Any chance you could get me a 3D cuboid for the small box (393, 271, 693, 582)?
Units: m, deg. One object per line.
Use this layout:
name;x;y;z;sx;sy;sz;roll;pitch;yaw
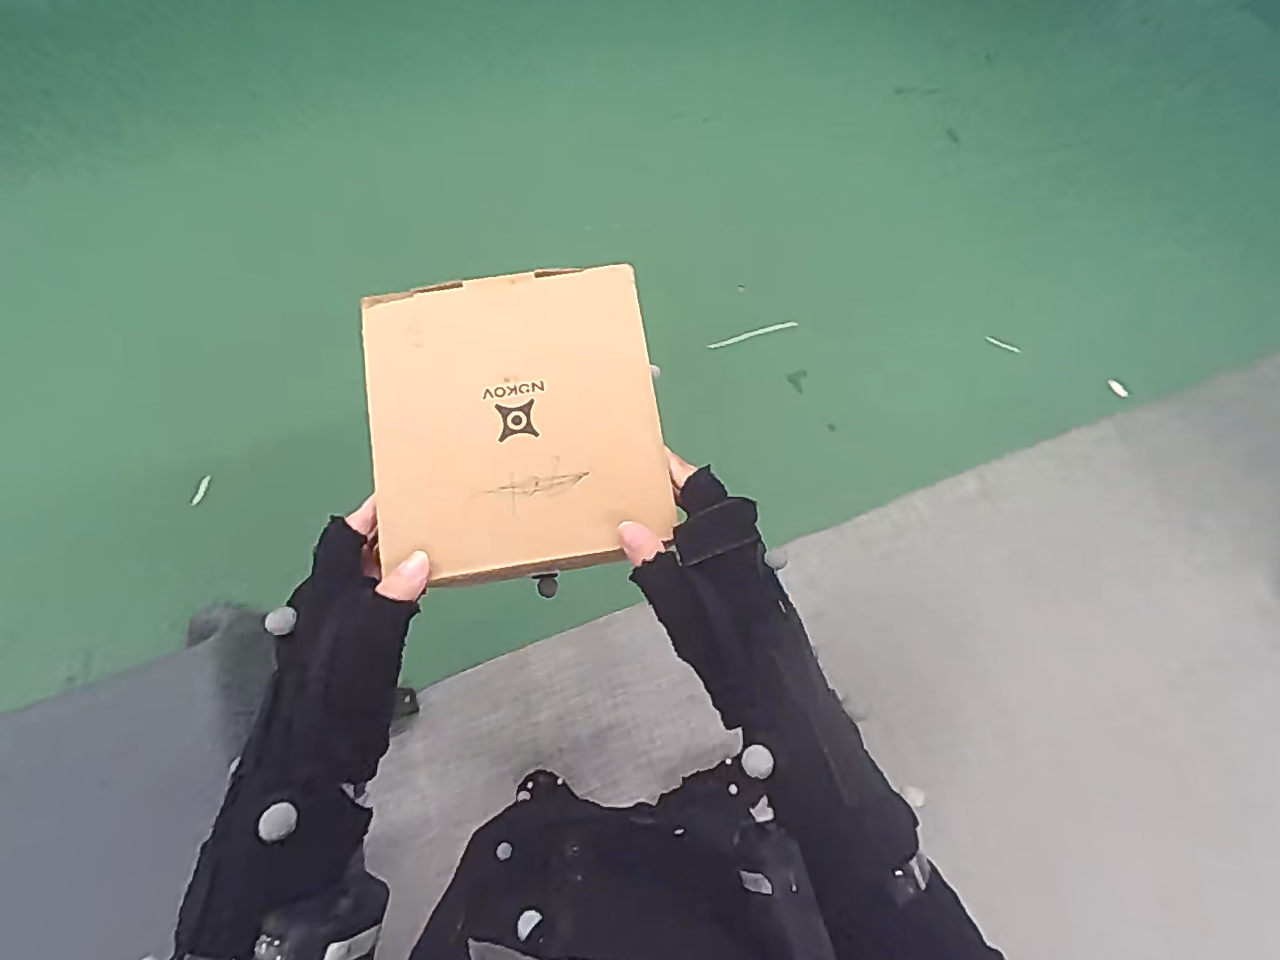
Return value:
small box;-0.063;-0.023;0.397;0.168;0.176;0.179;-7;79;-3
